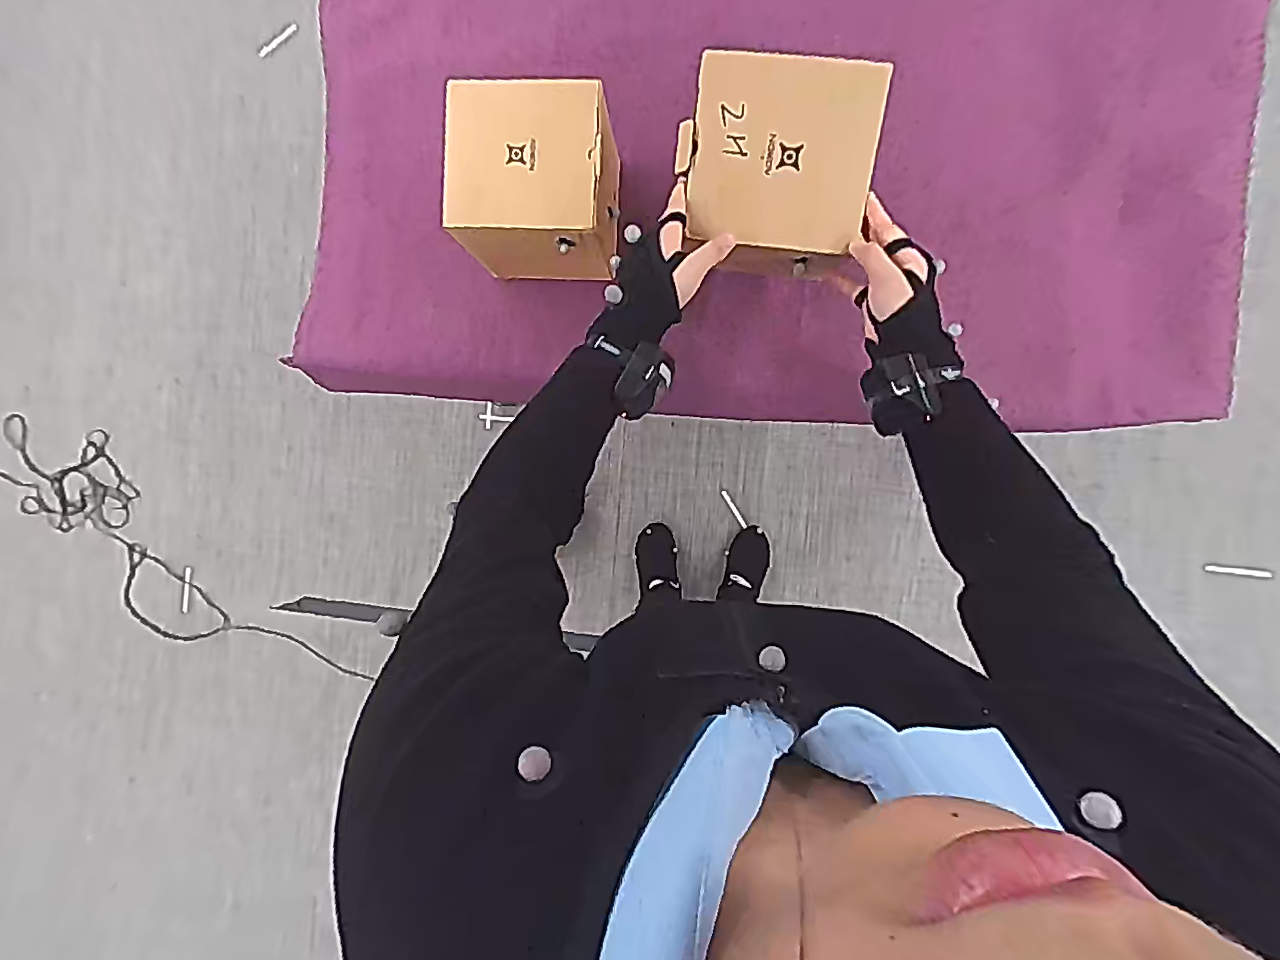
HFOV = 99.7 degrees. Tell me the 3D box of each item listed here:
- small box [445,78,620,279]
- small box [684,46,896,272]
[{"bbox_3d":[-0.123,-0.362,0.678,0.179,0.176,0.168,2,91,4],"label":"small box"},{"bbox_3d":[0.147,-0.330,0.591,0.179,0.176,0.168,8,103,6],"label":"small box"}]
